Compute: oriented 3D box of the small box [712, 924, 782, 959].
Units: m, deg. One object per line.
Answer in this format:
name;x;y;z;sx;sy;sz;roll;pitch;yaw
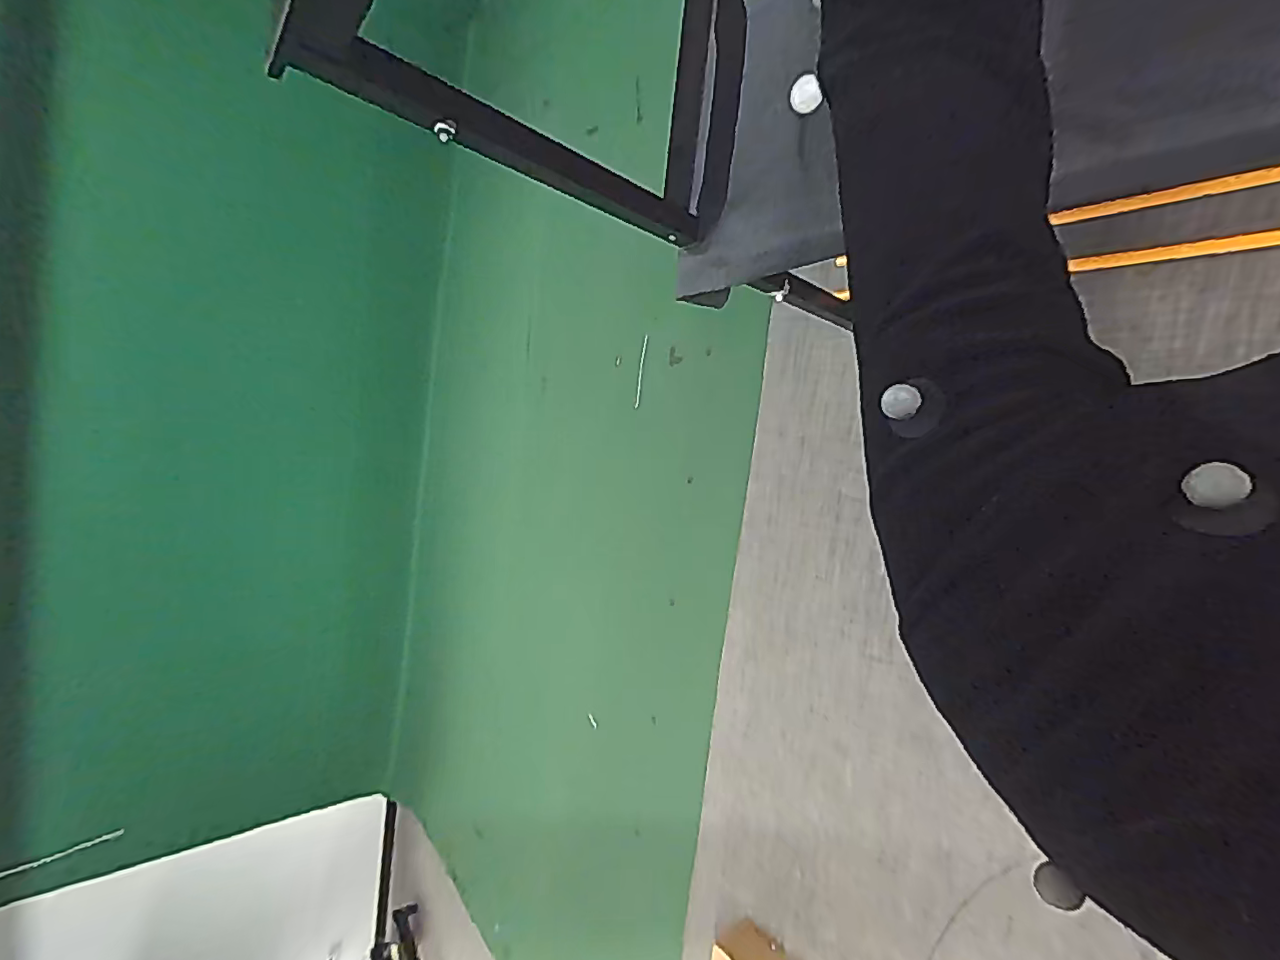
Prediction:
small box;0.335;1.558;1.695;0.168;0.176;0.179;9;94;49
